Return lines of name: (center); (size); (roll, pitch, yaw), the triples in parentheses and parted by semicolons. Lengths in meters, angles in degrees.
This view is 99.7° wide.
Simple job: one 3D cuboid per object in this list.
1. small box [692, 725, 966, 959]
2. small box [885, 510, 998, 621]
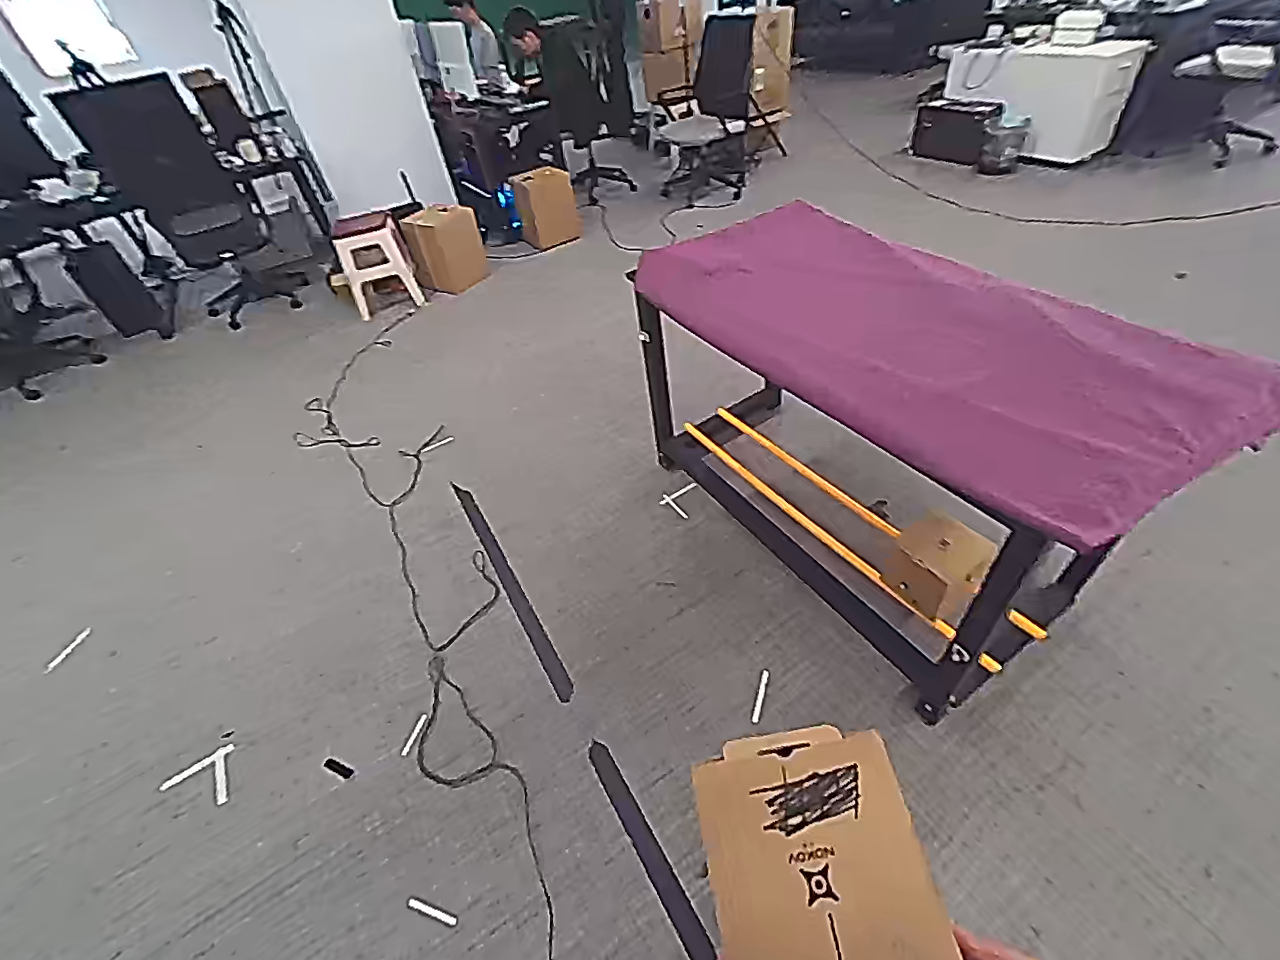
small box: (0.143, 0.337, 0.473); (0.168, 0.176, 0.179); (-12, 54, 1)
small box: (0.740, 0.214, 1.348); (0.179, 0.176, 0.168); (-29, 46, -17)
